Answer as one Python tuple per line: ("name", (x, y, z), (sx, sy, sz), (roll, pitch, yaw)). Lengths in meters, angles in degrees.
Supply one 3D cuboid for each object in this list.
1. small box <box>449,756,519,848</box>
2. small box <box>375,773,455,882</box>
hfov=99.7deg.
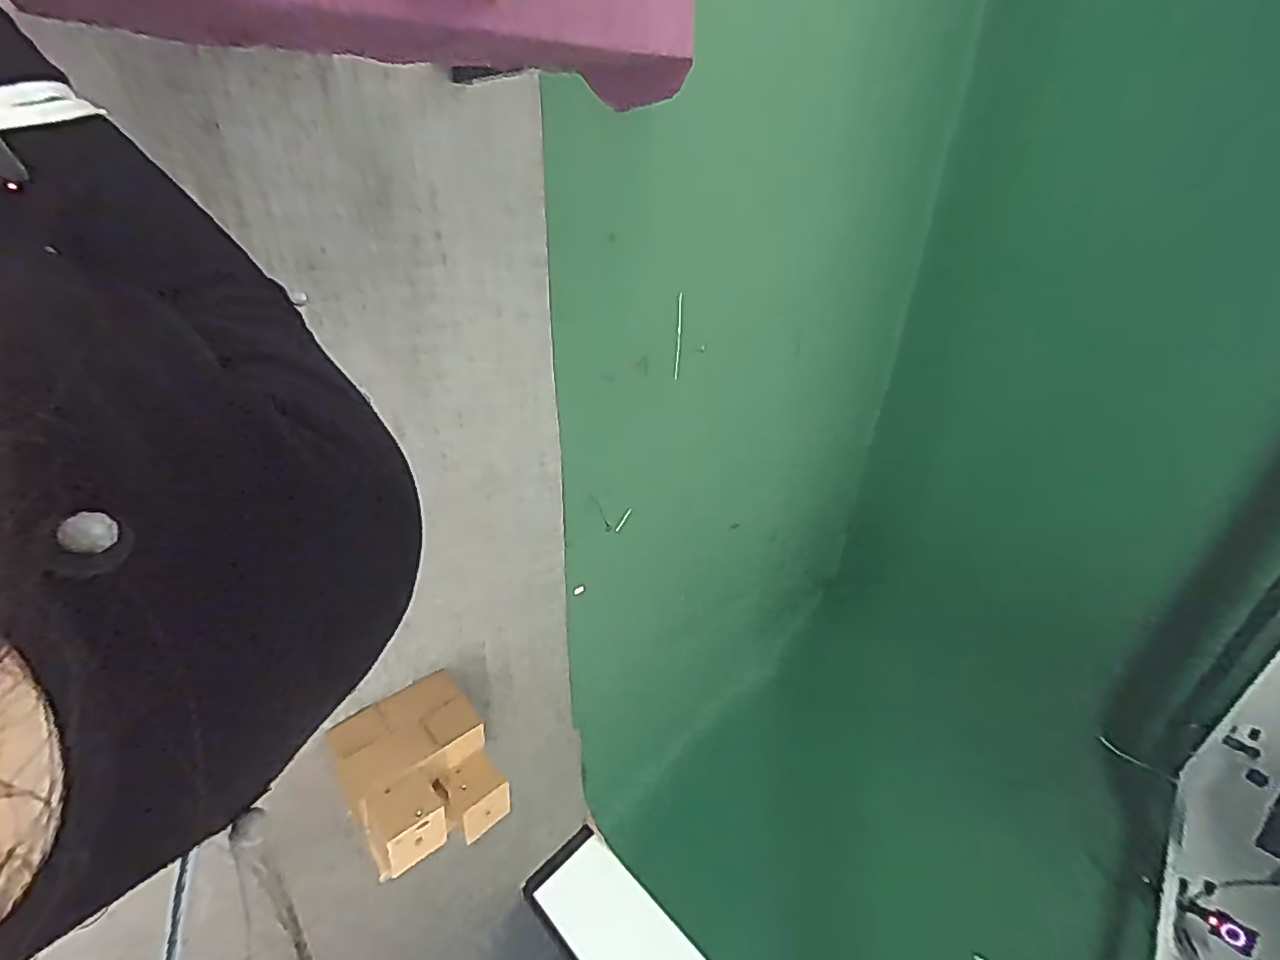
("small box", (-0.523, 1.060, 1.805), (0.168, 0.176, 0.179), (-22, 128, -40))
("small box", (-0.669, 1.026, 1.610), (0.168, 0.176, 0.179), (-19, 126, -41))
